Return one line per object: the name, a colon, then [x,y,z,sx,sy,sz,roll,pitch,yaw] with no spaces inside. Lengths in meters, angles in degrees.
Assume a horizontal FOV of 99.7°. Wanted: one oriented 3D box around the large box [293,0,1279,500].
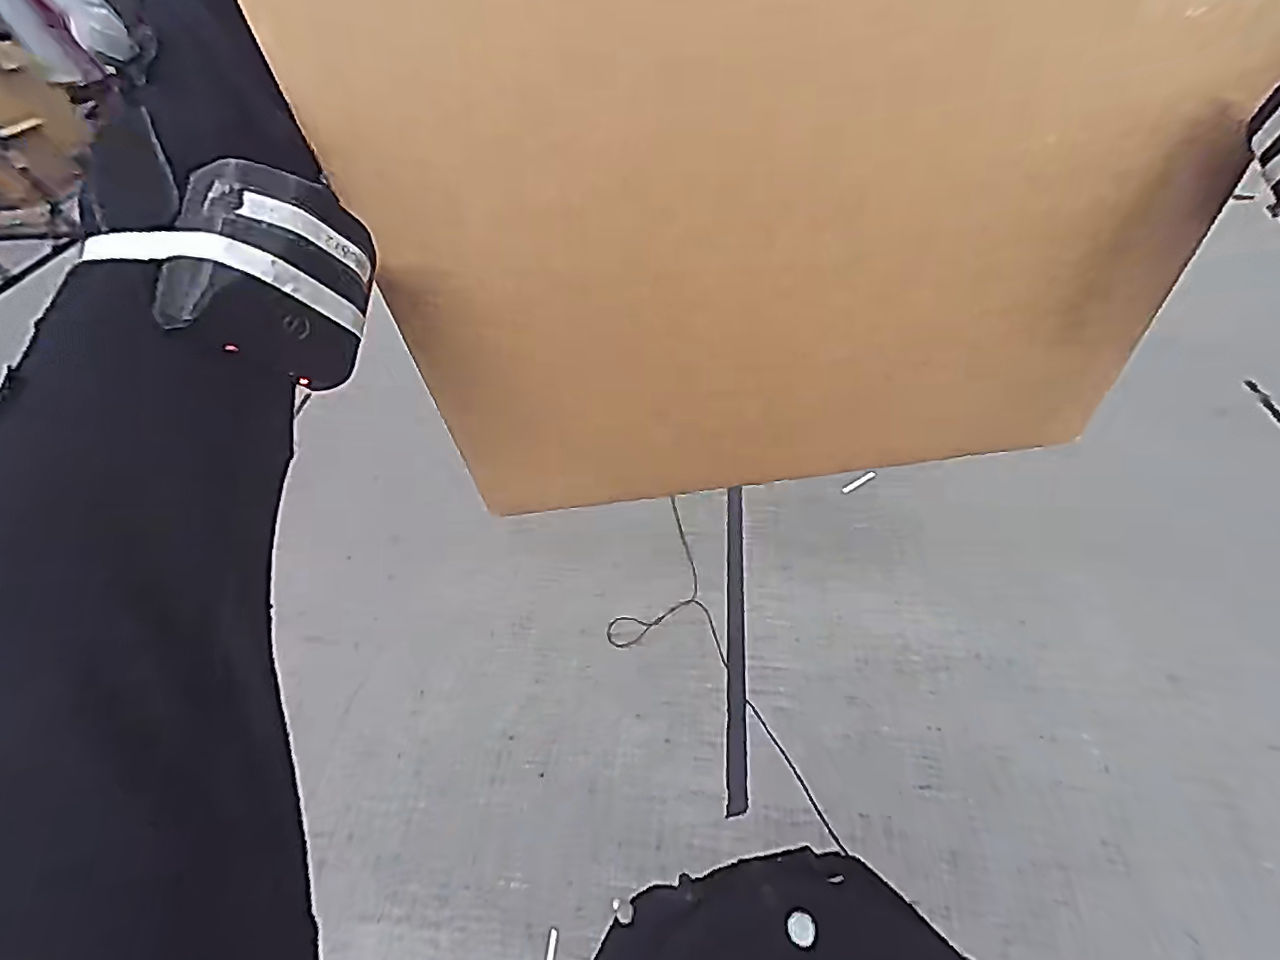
large box: [0.068,-0.216,0.379,0.408,0.320,0.320,-7,46,1]
